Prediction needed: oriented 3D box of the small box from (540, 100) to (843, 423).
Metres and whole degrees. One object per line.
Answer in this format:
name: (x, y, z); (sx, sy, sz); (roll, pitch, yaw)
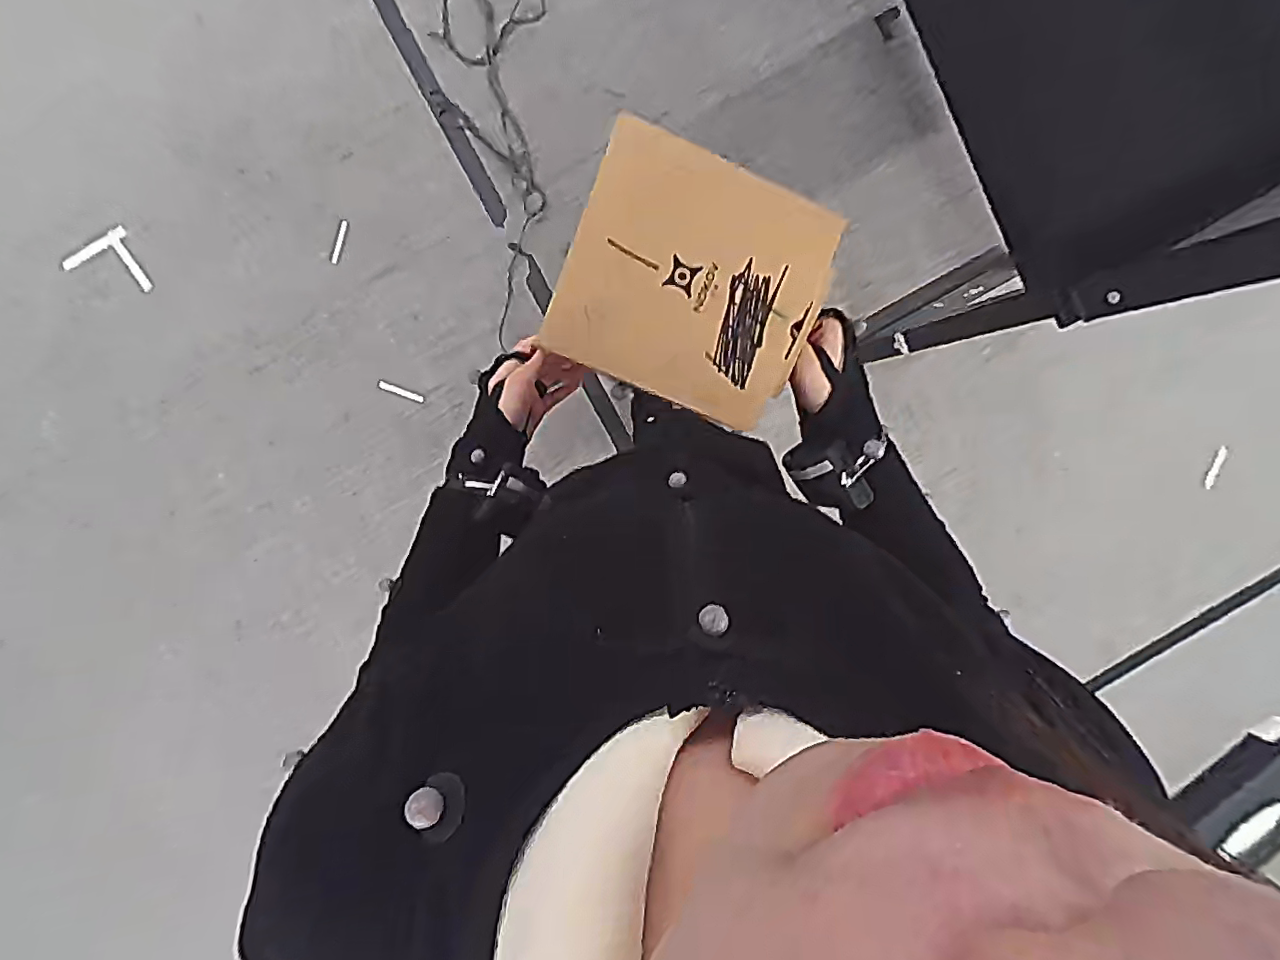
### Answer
small box: (0.026, -0.164, 0.458); (0.179, 0.176, 0.168); (21, 98, -14)
